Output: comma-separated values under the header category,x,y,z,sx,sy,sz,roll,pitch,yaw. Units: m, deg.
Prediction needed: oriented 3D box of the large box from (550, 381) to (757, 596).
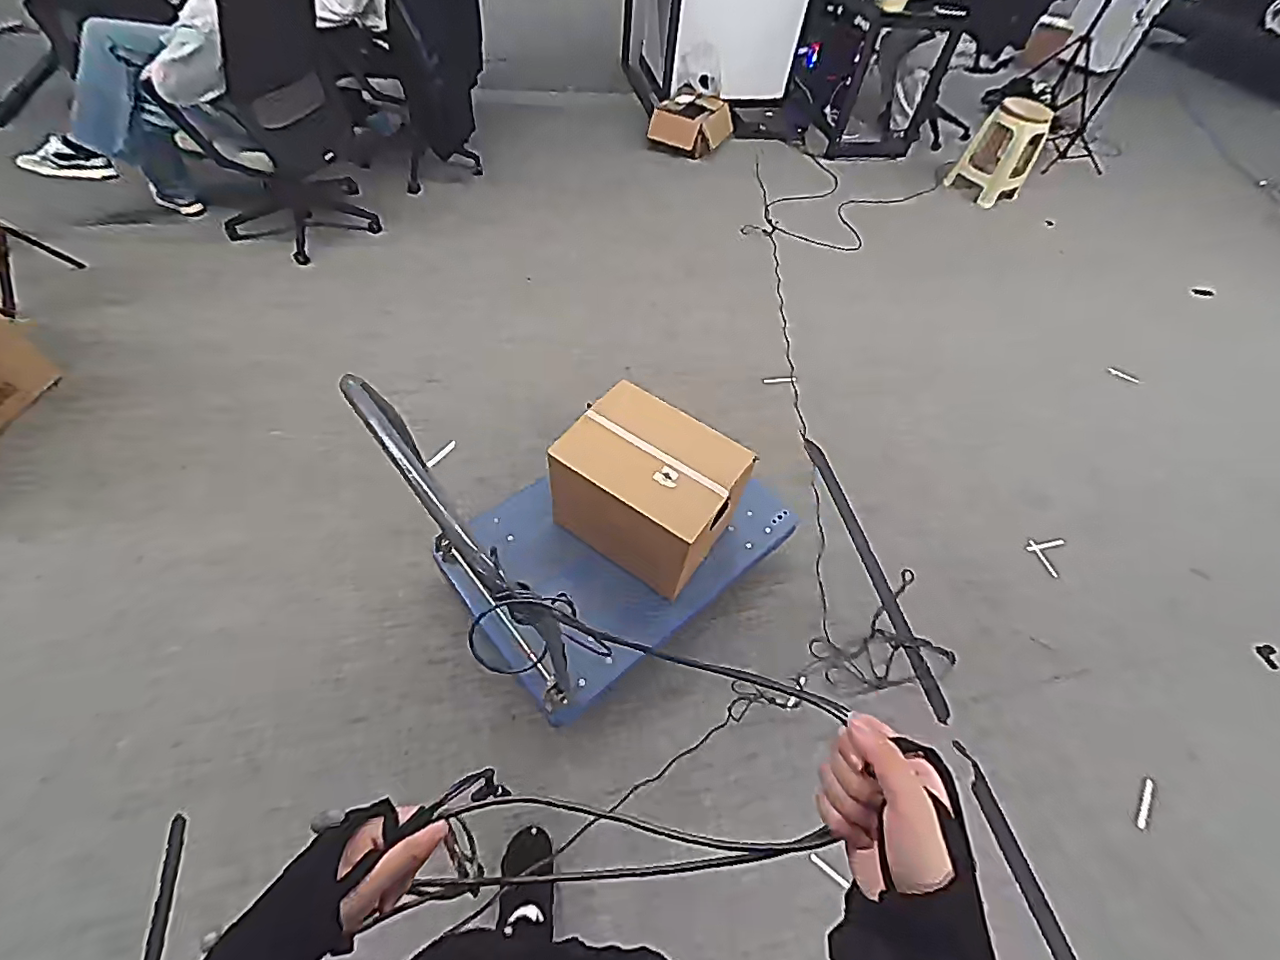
category,x,y,z,sx,sy,sz,roll,pitch,yaw
large box,0.021,0.022,1.392,0.408,0.320,0.320,32,59,15
